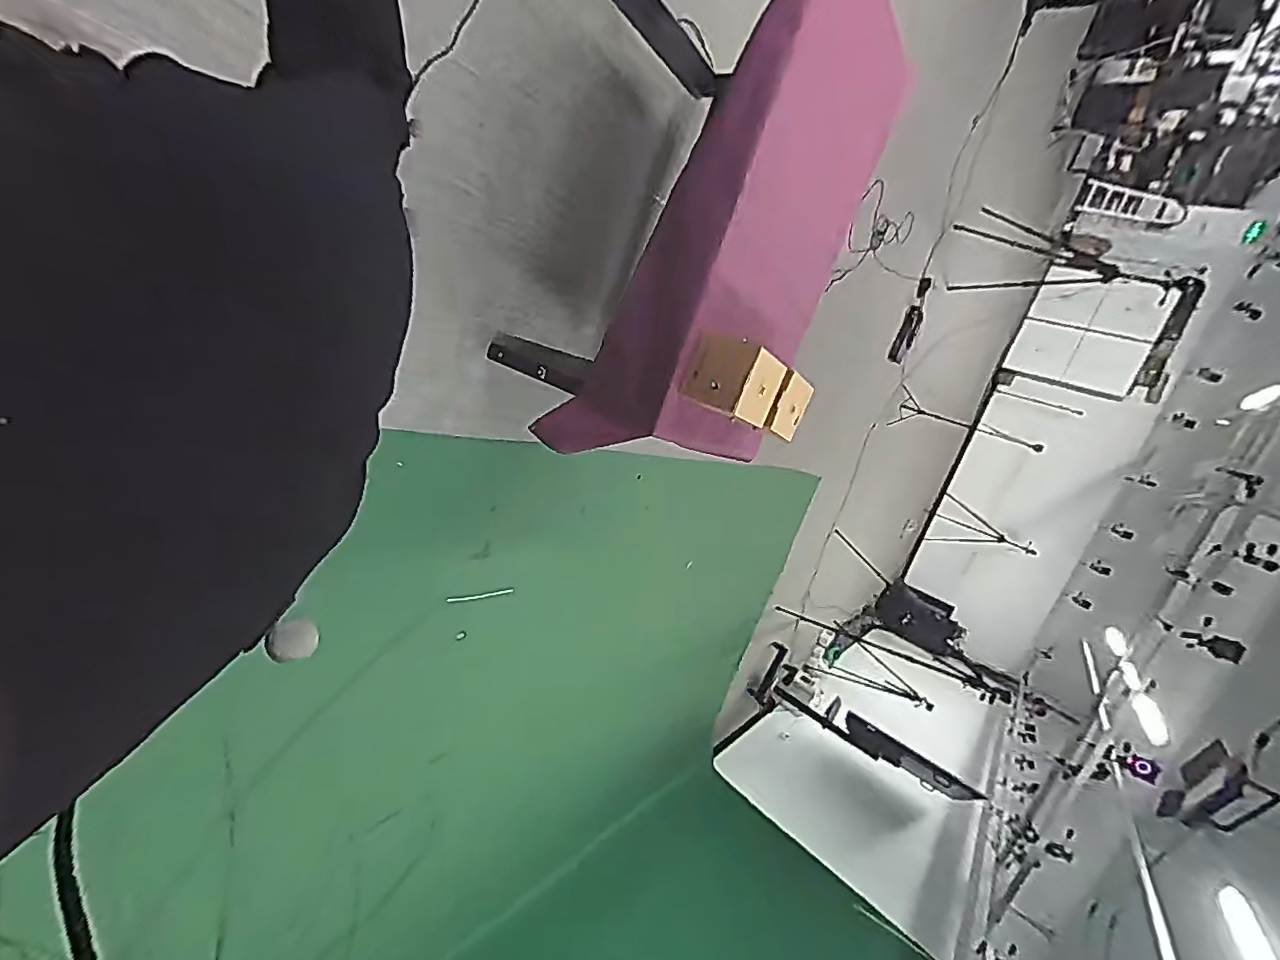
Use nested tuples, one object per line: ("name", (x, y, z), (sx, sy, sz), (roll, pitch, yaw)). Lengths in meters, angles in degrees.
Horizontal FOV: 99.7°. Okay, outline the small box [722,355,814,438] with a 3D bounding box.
("small box", (0.355, -0.236, 1.512), (0.179, 0.176, 0.168), (15, 100, -55))
